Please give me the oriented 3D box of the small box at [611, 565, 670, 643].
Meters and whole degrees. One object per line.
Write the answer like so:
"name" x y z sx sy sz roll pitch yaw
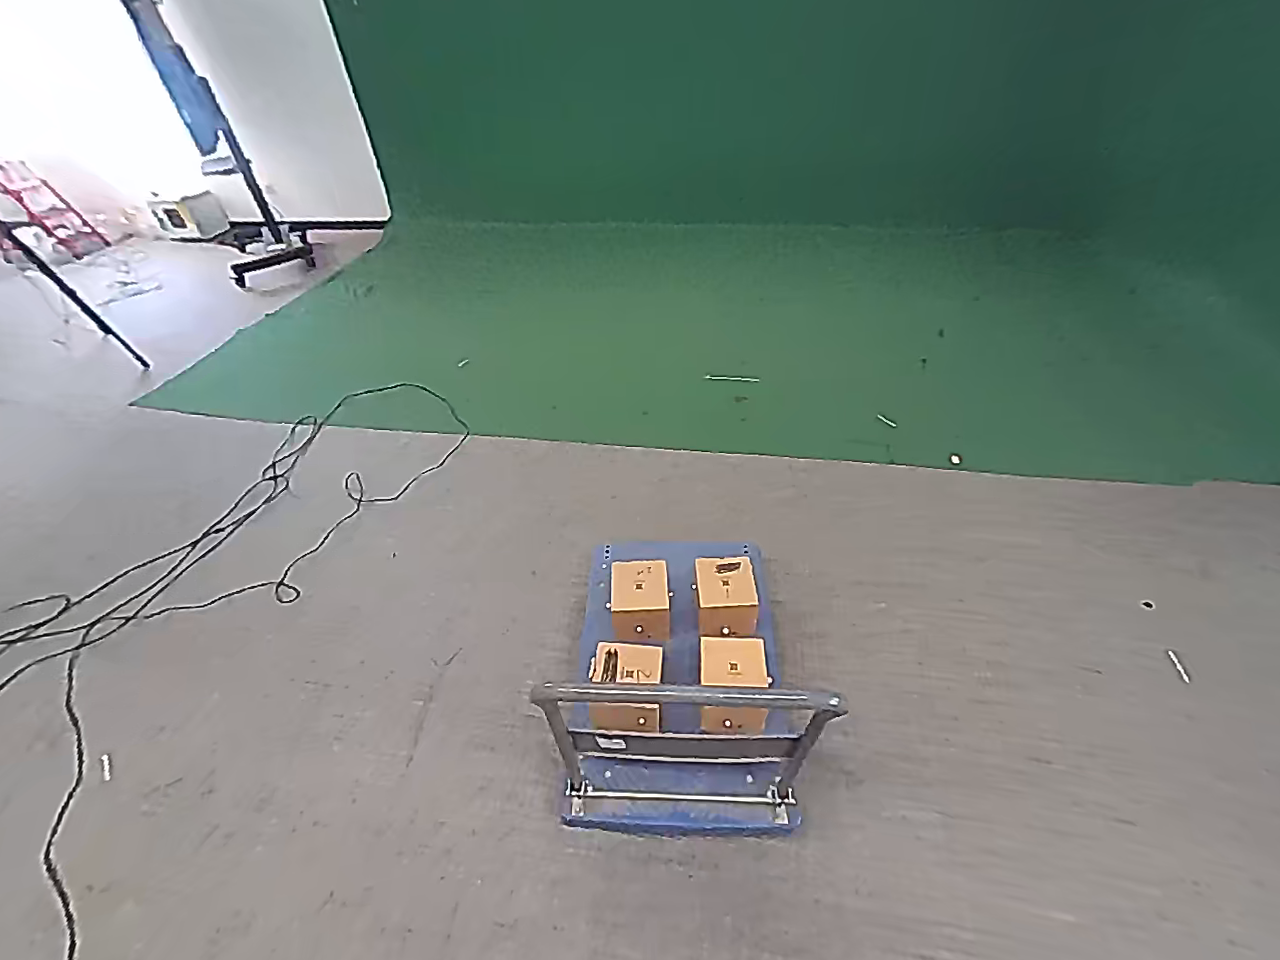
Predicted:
"small box" 0.004 0.380 1.639 0.168 0.176 0.179 -2 42 1

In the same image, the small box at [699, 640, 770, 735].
"small box" 0.244 0.550 1.436 0.168 0.176 0.179 0 43 4

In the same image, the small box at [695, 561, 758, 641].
"small box" 0.255 0.367 1.635 0.168 0.176 0.179 -3 43 2
